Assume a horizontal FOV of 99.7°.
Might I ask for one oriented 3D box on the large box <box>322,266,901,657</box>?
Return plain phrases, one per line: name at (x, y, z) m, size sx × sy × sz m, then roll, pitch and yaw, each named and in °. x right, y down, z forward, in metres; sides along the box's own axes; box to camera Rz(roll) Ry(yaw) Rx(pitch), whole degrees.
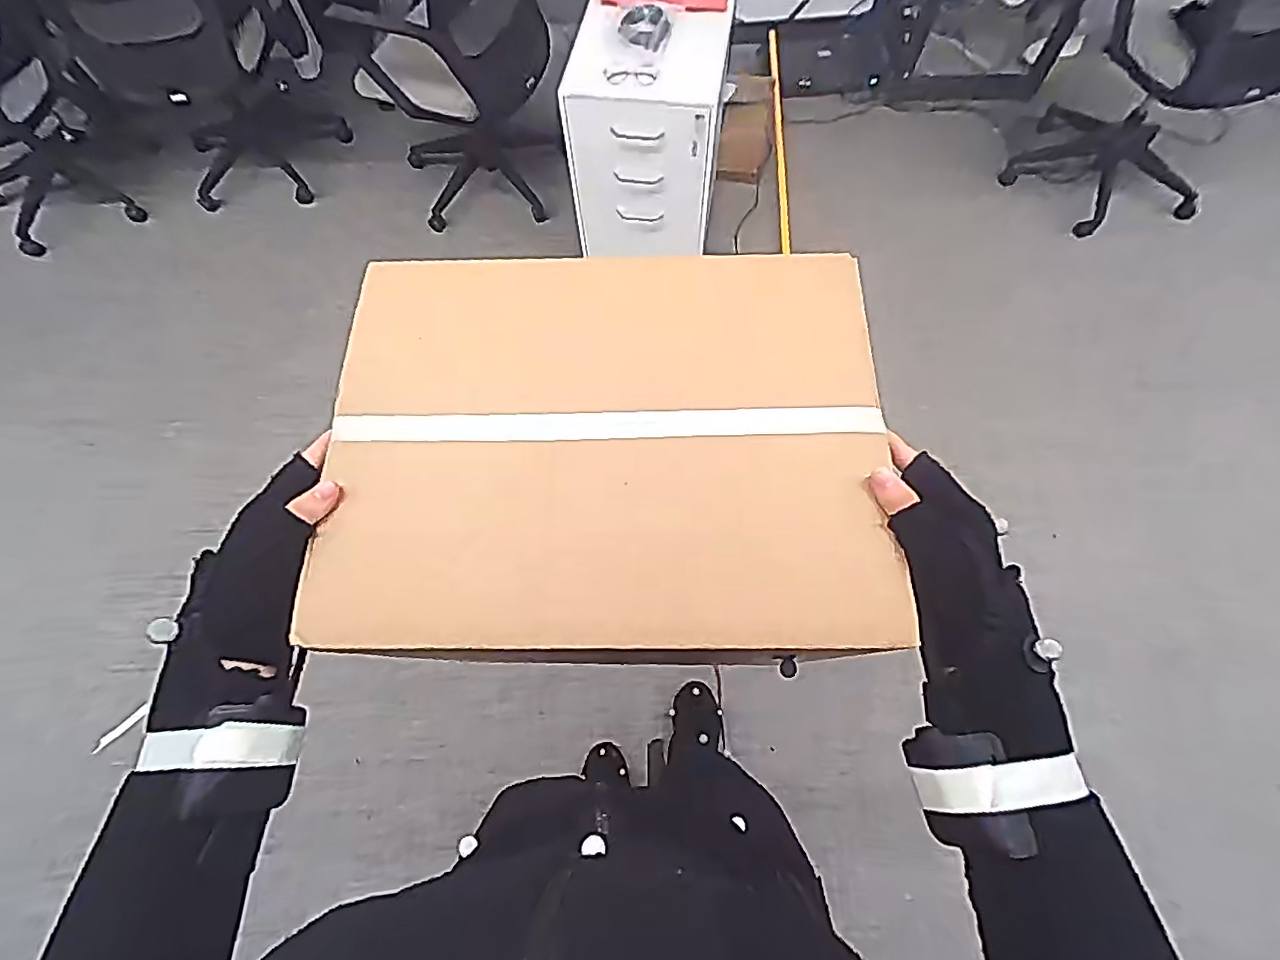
large box at (-0.017, 0.016, 0.554) m, size 0.408 × 0.320 × 0.320 m, roll -1°, pitch 70°, yaw 2°
